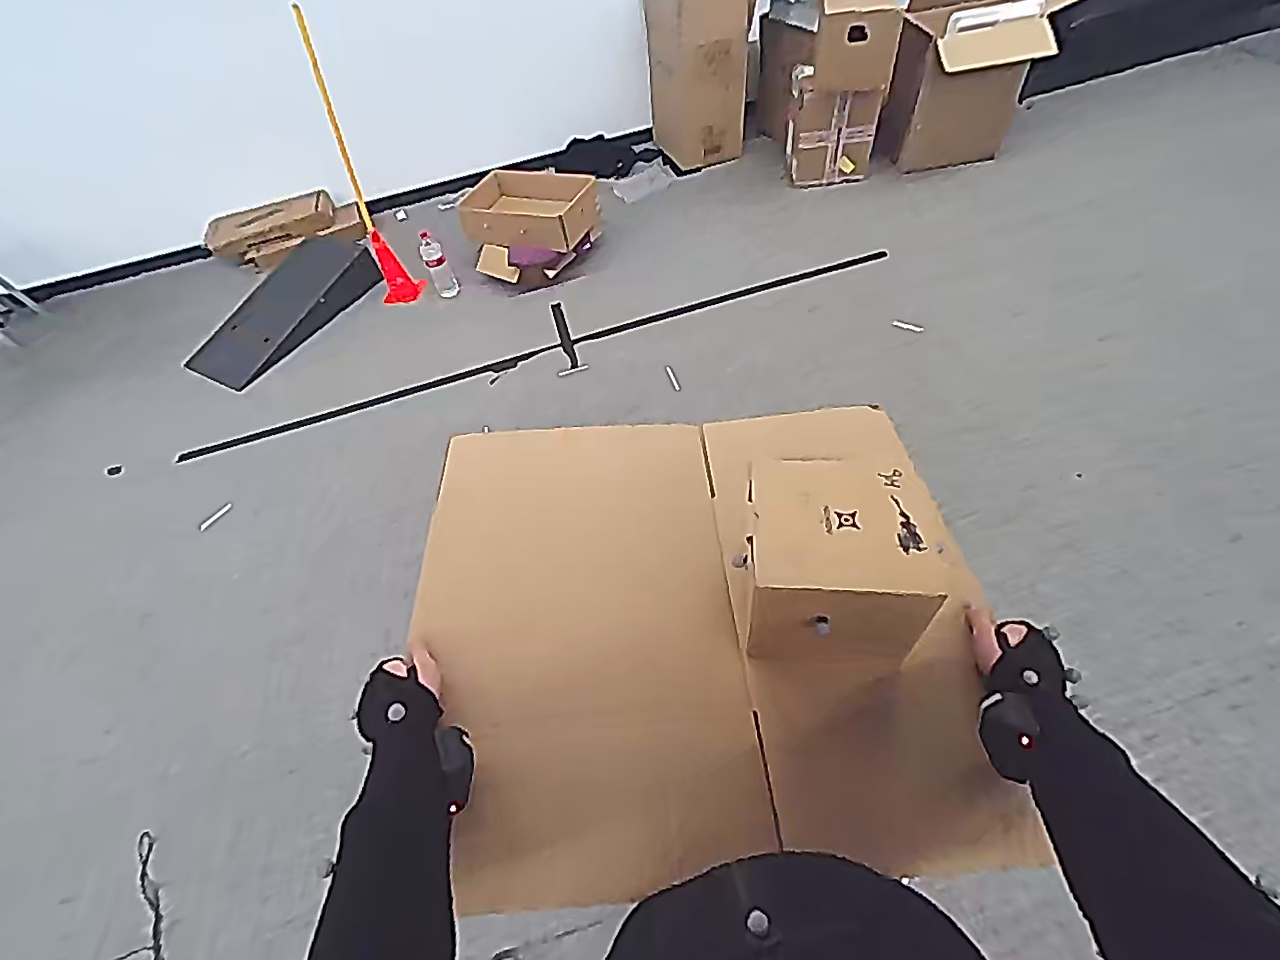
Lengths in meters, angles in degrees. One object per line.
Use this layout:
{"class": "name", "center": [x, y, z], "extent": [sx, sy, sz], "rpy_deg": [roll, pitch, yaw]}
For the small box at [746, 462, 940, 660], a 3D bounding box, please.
{"class": "small box", "center": [0.212, 0.096, 0.621], "extent": [0.179, 0.176, 0.168], "rpy_deg": [0, 51, 9]}
